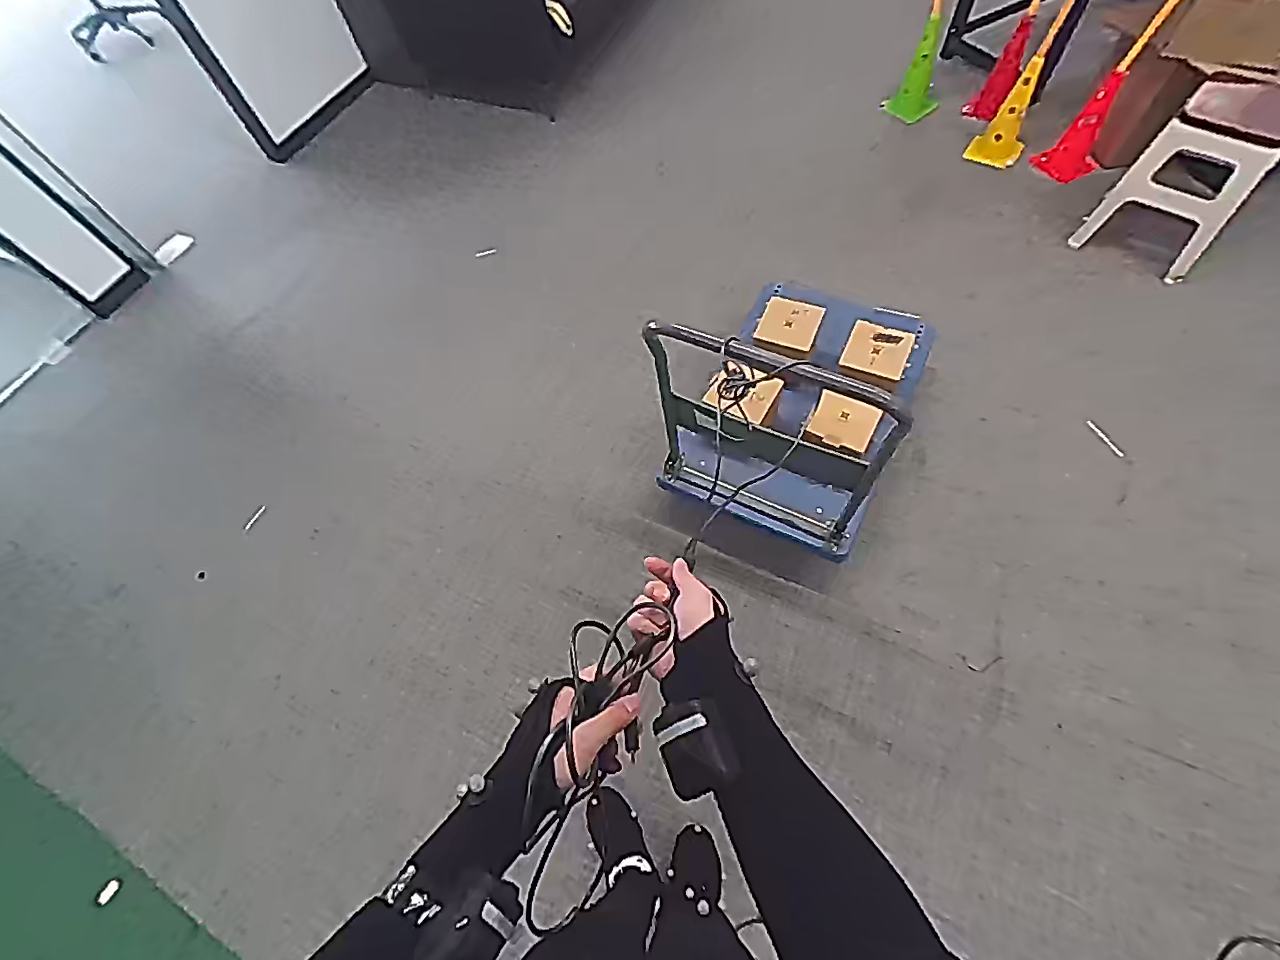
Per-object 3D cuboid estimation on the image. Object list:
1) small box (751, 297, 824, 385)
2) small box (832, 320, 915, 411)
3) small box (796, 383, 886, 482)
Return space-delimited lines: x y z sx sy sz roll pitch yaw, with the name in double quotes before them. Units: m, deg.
"small box" 0.442 -0.419 1.644 0.168 0.176 0.179 20 67 17
"small box" 0.665 -0.324 1.563 0.168 0.176 0.179 21 68 19
"small box" 0.541 -0.127 1.479 0.168 0.176 0.179 25 70 19
